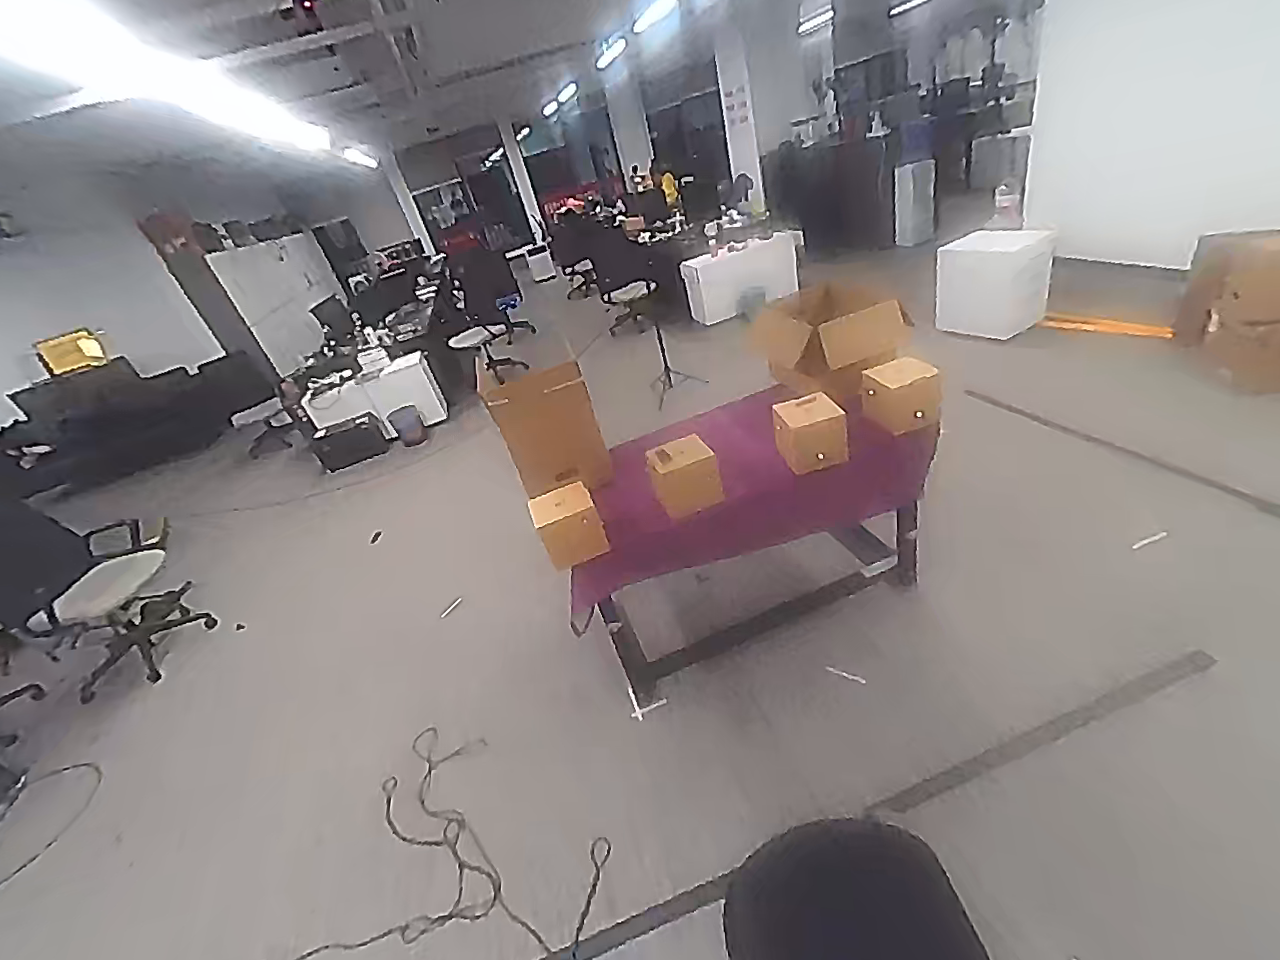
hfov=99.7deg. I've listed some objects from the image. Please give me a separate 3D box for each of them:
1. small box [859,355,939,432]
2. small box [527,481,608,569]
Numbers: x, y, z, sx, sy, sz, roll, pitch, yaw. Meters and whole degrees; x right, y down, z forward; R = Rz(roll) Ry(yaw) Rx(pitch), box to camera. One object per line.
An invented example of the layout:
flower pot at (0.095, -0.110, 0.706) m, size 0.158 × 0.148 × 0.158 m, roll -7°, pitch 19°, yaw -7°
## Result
small box at (0.822, -0.276, 1.721) m, size 0.168 × 0.176 × 0.179 m, roll -20°, pitch 31°, yaw -2°
small box at (-0.212, 0.134, 1.591) m, size 0.179 × 0.176 × 0.168 m, roll -22°, pitch 31°, yaw -9°
